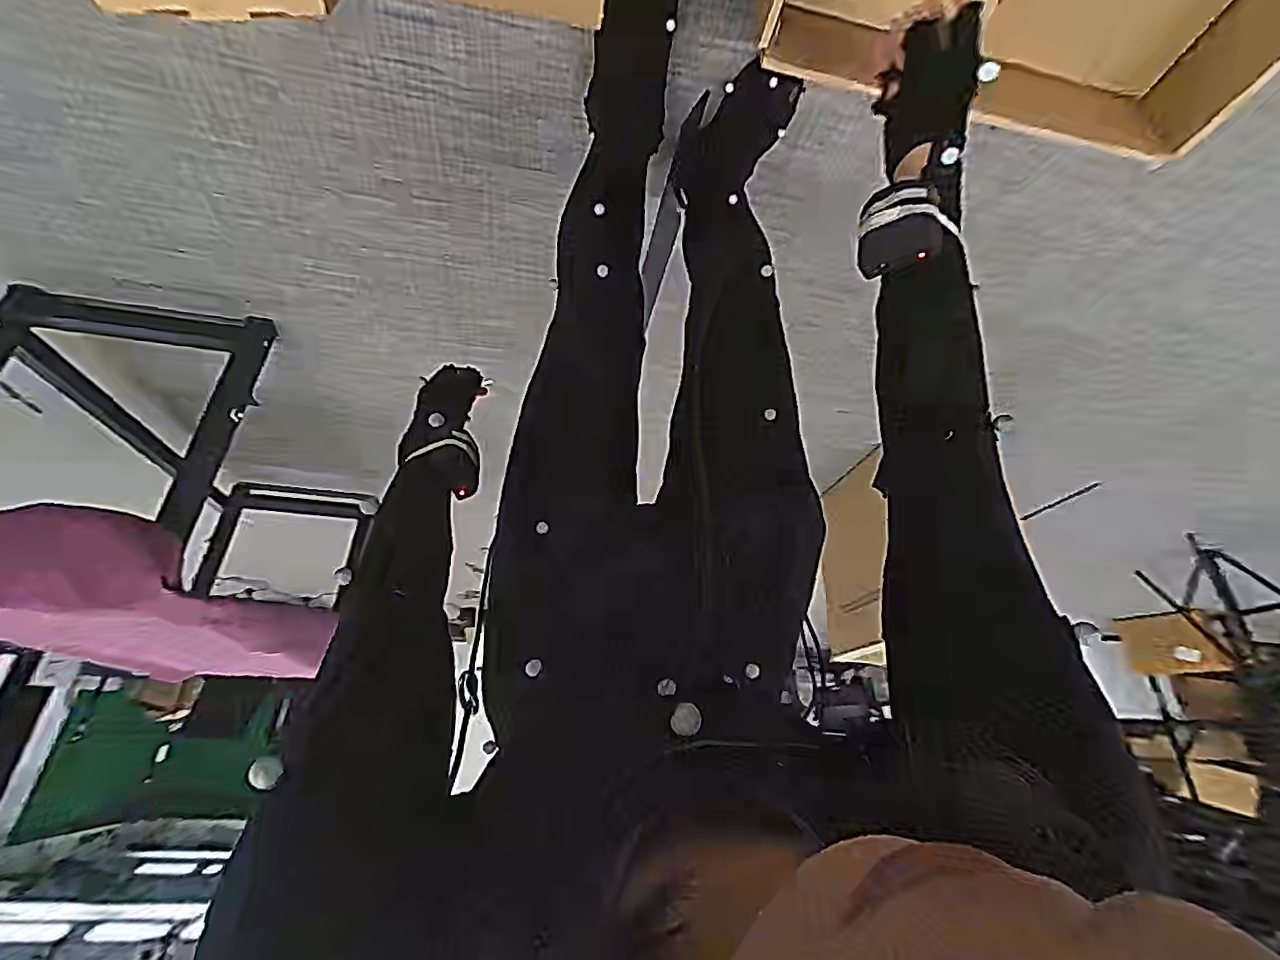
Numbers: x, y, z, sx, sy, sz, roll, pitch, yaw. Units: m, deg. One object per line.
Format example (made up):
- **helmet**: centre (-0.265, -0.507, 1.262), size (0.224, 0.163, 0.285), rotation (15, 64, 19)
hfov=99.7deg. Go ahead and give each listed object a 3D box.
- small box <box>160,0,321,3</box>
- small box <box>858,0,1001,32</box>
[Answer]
- **small box**: centre (-0.299, -0.448, 0.340), size (0.168, 0.176, 0.179), rotation (0, 153, 0)
- **small box**: centre (0.307, -0.608, 0.548), size (0.179, 0.176, 0.168), rotation (5, 152, -11)
